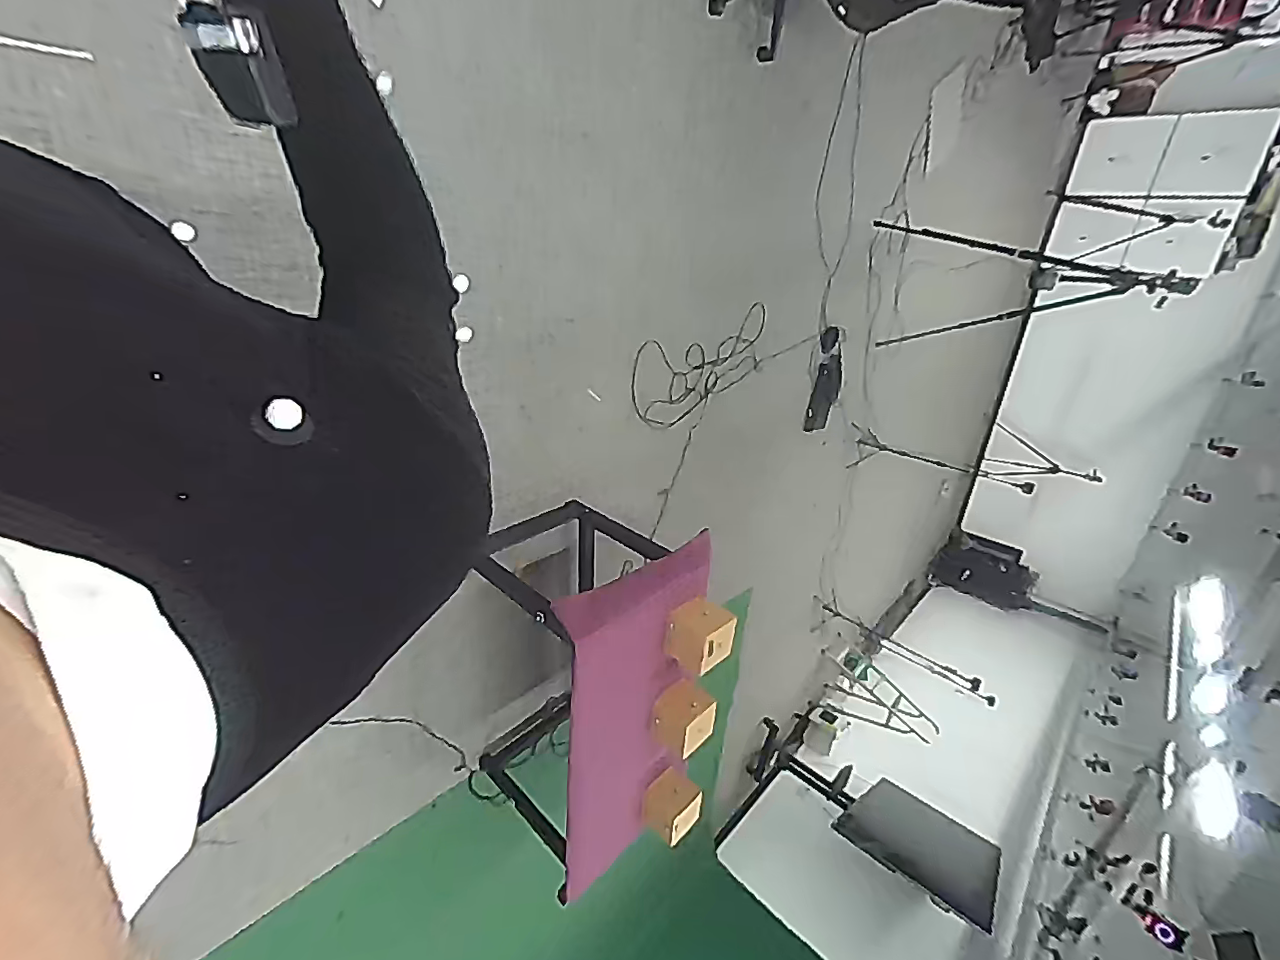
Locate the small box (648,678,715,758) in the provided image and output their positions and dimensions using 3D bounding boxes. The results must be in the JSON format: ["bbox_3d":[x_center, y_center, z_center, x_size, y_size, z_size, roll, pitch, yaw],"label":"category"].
[{"bbox_3d":[0.151,0.872,2.000,0.179,0.176,0.168,-19,122,-43],"label":"small box"}]

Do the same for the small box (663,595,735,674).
[{"bbox_3d":[0.200,0.529,1.873,0.179,0.176,0.168,-17,122,-43],"label":"small box"}]

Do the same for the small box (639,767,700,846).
[{"bbox_3d":[0.117,1.307,2.180,0.179,0.176,0.168,-22,123,-43],"label":"small box"}]
